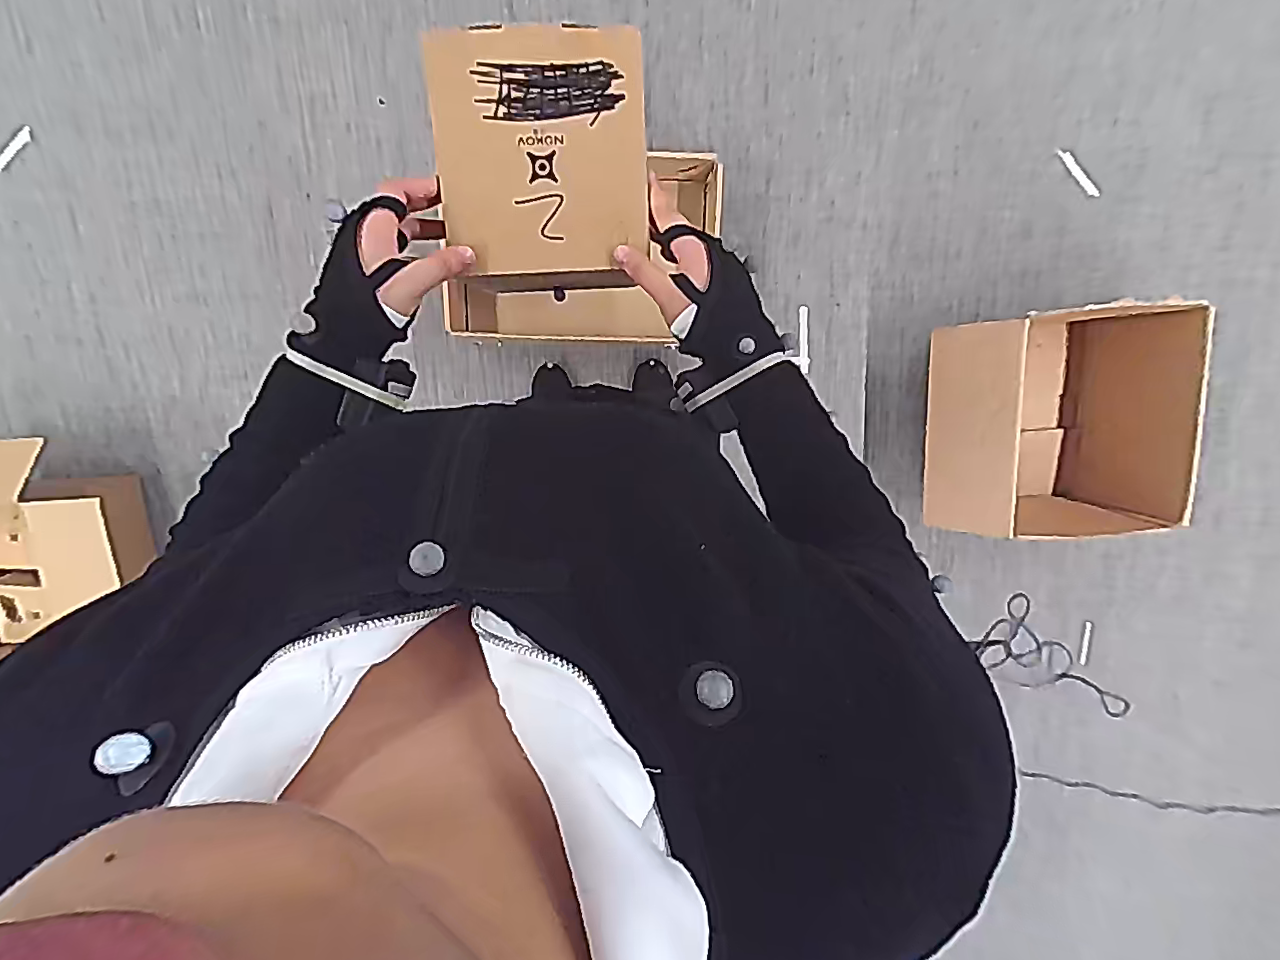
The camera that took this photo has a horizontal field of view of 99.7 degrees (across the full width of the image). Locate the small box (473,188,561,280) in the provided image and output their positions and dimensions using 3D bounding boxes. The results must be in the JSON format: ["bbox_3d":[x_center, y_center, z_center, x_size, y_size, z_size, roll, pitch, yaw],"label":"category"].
[{"bbox_3d":[-0.277,-0.560,1.252,0.179,0.176,0.168,1,104,-4],"label":"small box"}]
